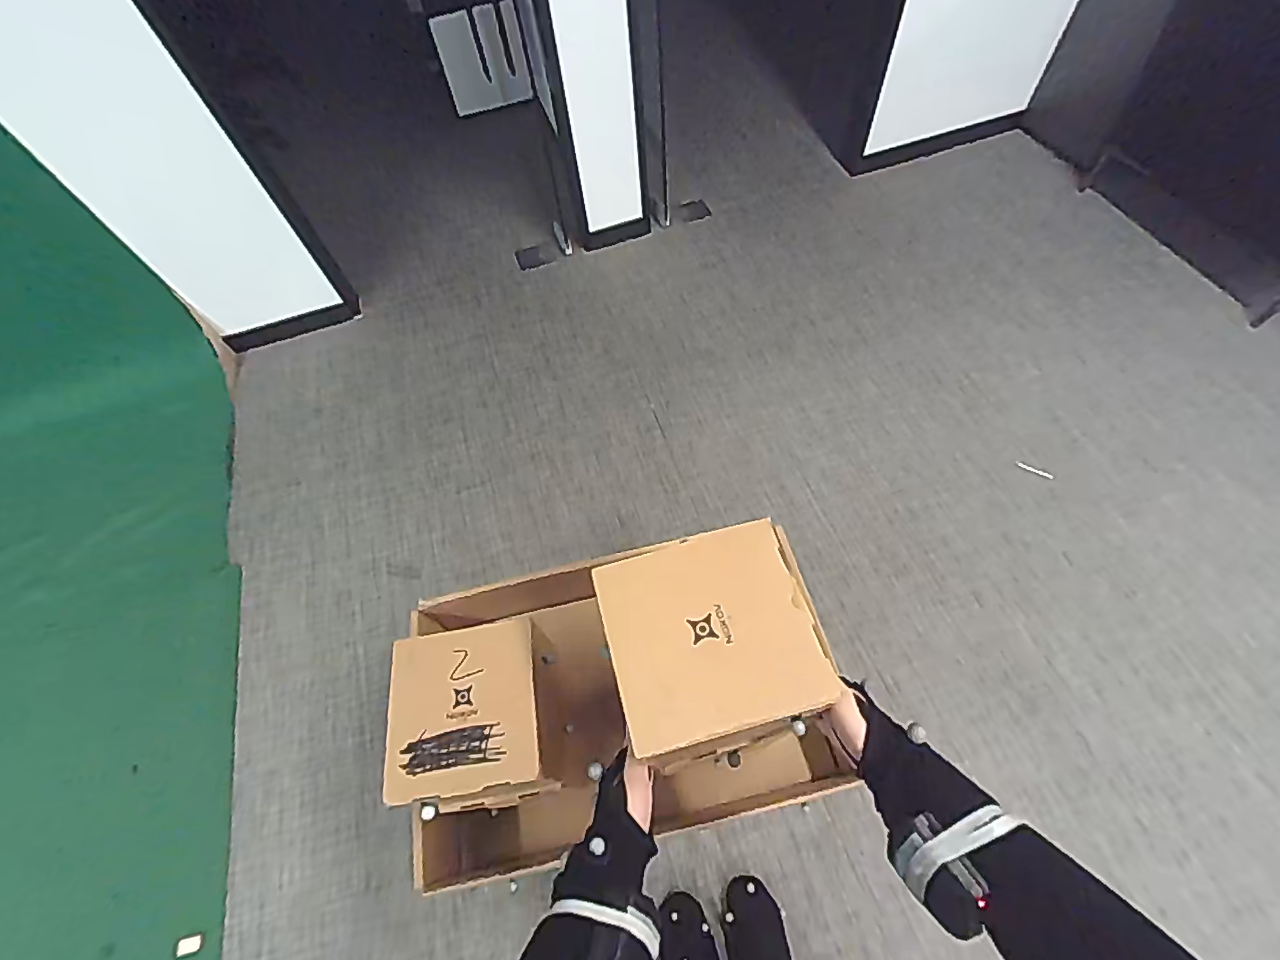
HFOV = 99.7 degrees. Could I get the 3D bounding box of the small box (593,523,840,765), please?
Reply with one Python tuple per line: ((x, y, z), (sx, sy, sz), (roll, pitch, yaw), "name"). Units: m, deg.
((0.066, 0.169, 0.534), (0.179, 0.176, 0.168), (-15, 60, -4), "small box")
